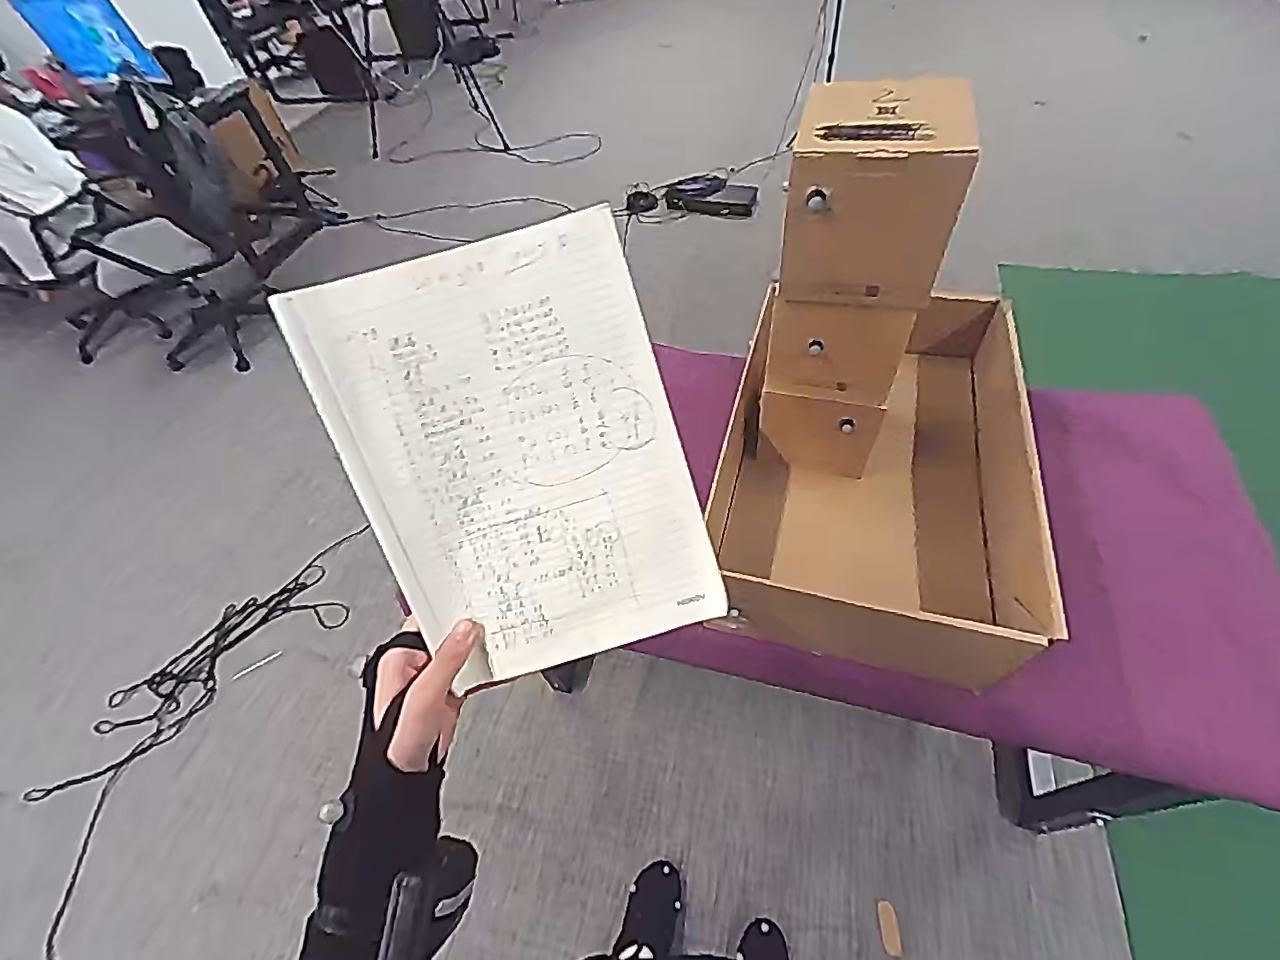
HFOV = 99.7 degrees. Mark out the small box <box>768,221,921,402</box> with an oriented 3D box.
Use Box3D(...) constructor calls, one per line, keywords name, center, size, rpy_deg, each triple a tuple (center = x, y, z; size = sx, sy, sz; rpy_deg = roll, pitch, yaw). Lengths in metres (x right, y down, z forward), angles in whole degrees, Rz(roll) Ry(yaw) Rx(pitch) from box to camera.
Box3D(name="small box", center=(0.276, -0.231, 0.750), size=(0.168, 0.176, 0.179), rpy_deg=(11, 56, 16))
